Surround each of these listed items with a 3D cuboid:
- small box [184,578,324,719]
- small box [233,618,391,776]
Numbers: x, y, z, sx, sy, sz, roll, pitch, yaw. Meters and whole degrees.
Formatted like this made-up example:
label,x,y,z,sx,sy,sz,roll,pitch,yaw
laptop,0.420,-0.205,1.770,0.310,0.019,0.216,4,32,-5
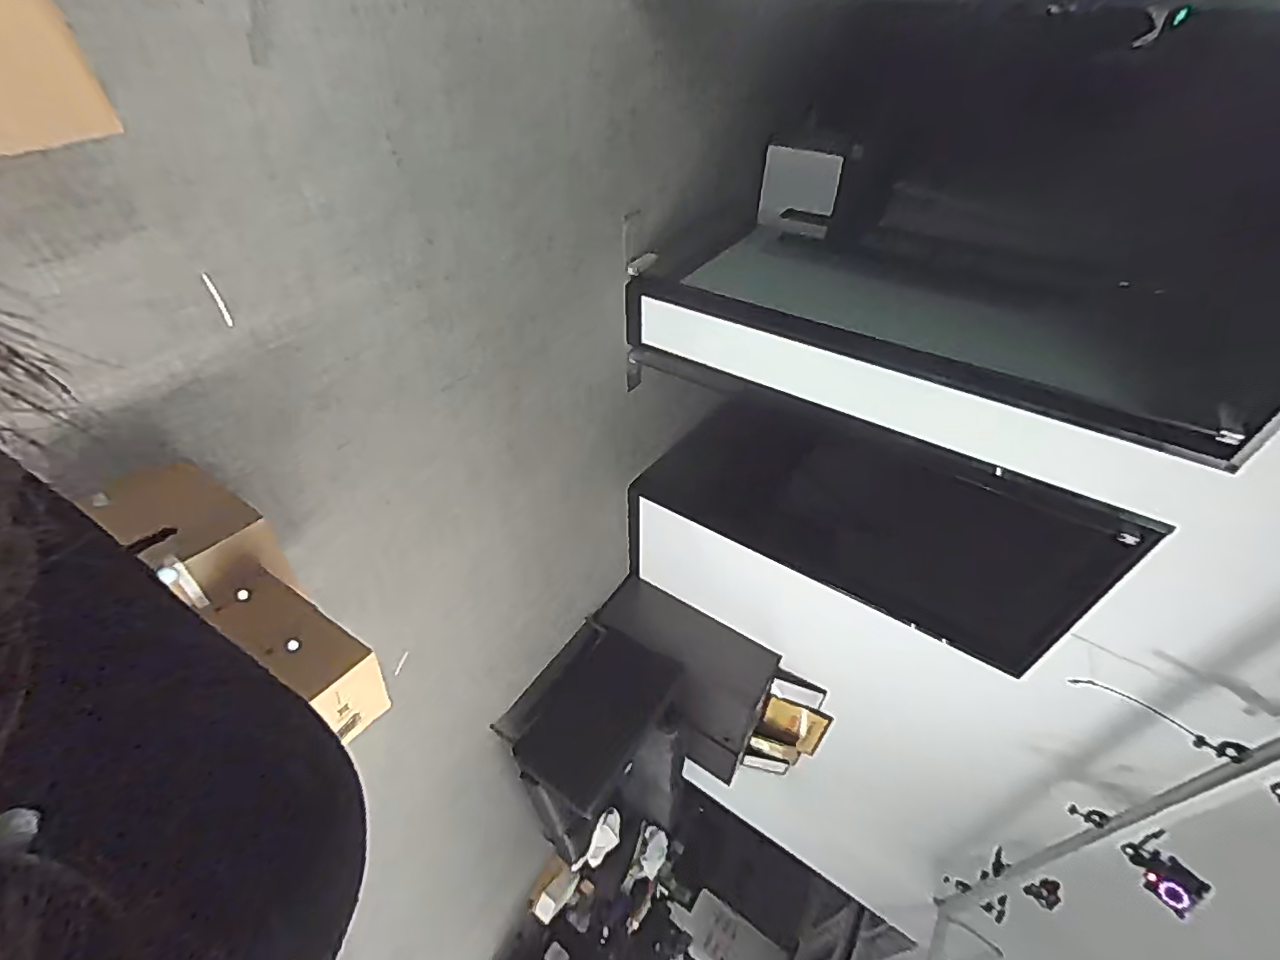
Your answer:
label,x,y,z,sx,sy,sz,roll,pitch,yaw
small box,-0.731,0.324,1.056,0.168,0.176,0.179,-42,147,-46
small box,-0.594,0.389,0.992,0.168,0.176,0.179,-42,146,-47
